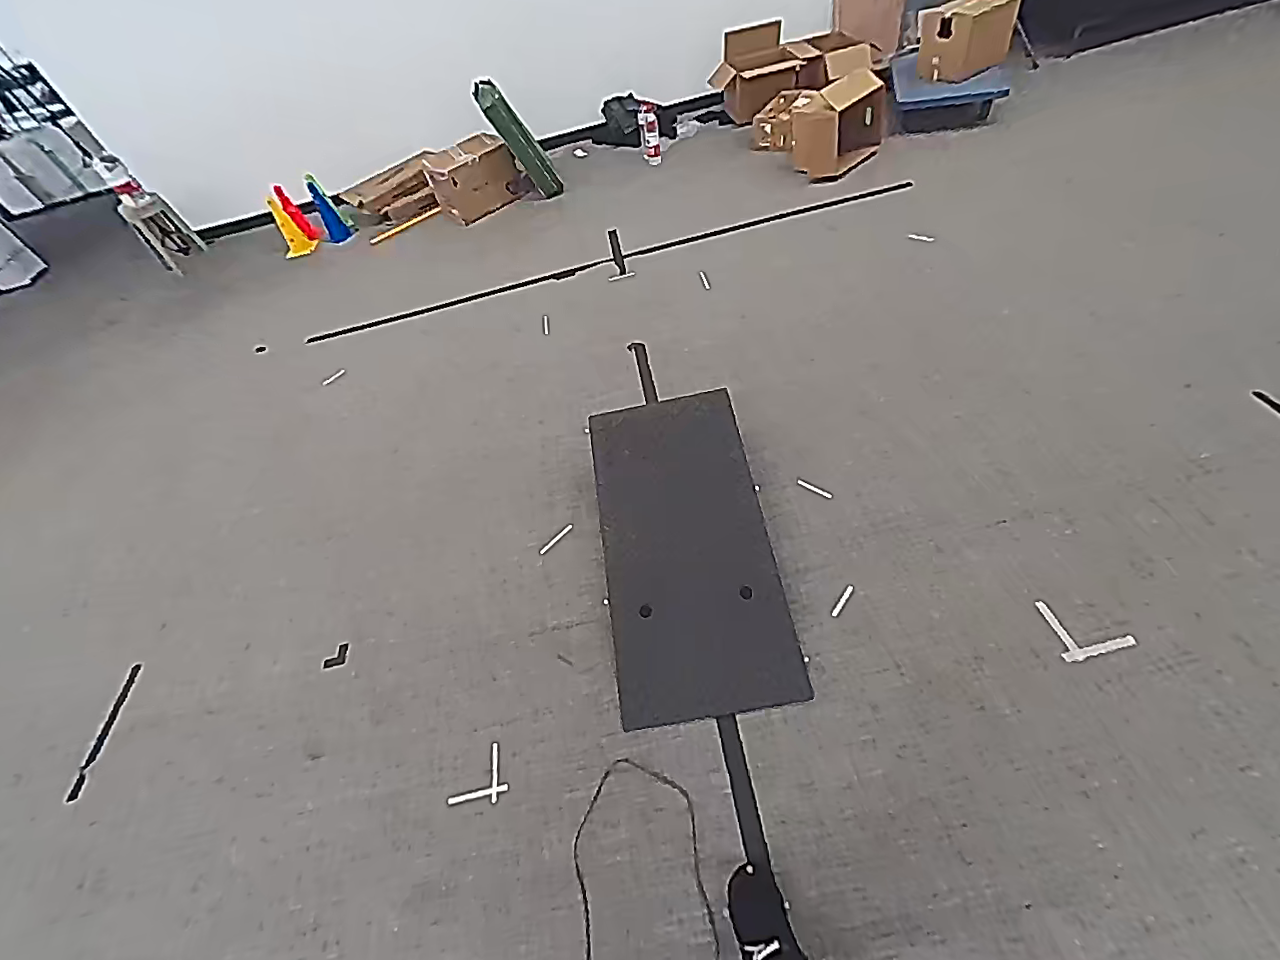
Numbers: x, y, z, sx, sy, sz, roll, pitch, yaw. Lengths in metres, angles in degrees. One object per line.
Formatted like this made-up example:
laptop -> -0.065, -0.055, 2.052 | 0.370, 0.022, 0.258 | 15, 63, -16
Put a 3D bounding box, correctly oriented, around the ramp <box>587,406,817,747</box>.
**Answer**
ramp -> 0.133, 0.215, 1.626 | 0.509, 0.206, 0.991 | -14, 48, 1
